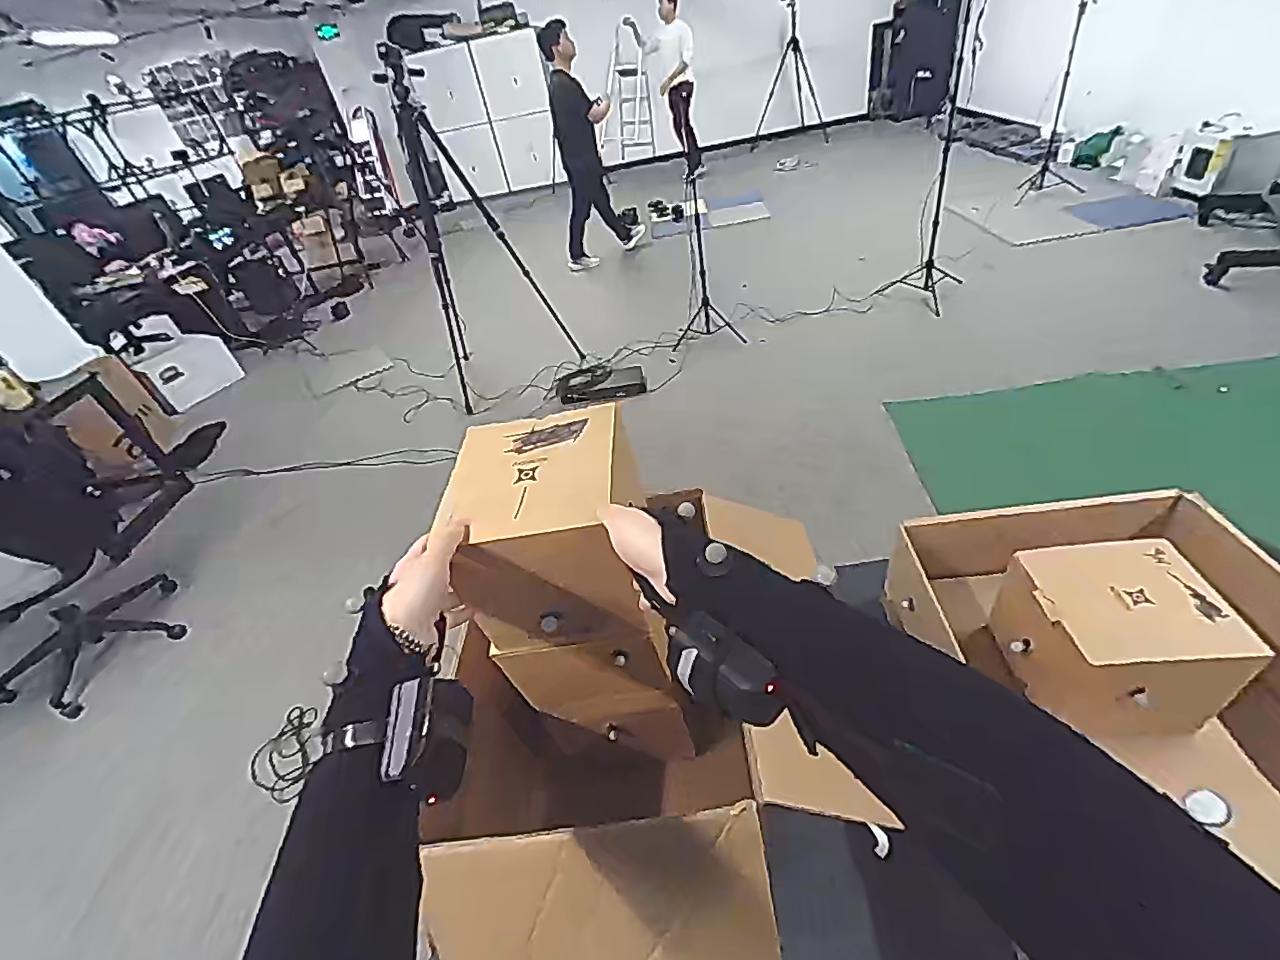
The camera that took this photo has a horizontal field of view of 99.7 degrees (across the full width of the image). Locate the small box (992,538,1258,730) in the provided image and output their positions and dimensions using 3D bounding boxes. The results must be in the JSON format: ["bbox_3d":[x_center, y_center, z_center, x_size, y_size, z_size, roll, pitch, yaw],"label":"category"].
[{"bbox_3d":[0.571,0.196,0.676,0.179,0.176,0.168,-8,41,9],"label":"small box"}]

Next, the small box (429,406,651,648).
[{"bbox_3d":[-0.085,0.050,0.564,0.168,0.176,0.179,-9,43,8],"label":"small box"}]
